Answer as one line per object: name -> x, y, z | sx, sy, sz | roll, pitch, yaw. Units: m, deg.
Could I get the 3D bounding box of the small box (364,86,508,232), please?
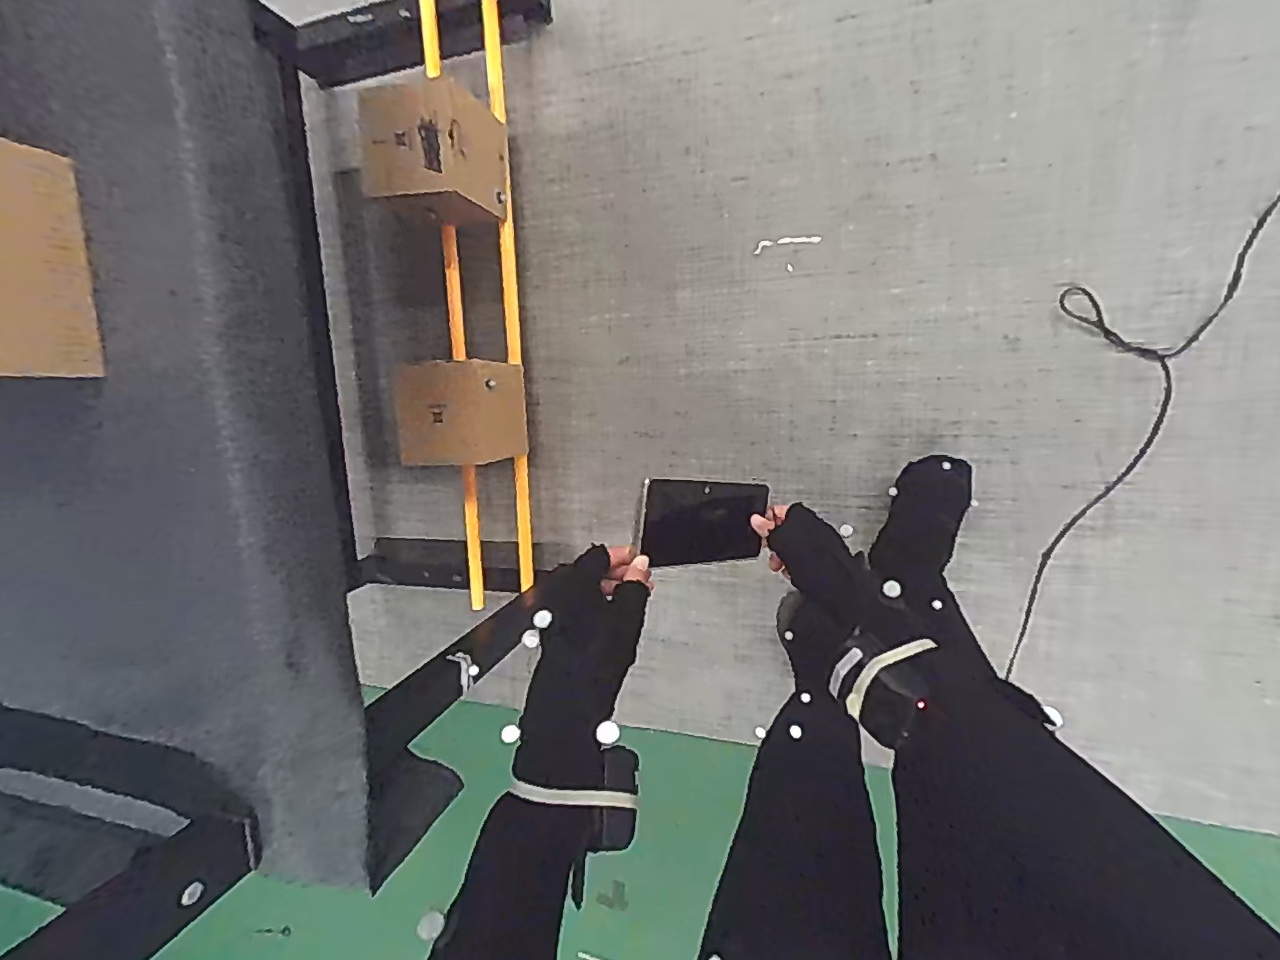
small box -> -0.342, -0.542, 0.936 | 0.179, 0.176, 0.168 | 4, 99, 16

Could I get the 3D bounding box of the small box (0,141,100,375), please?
small box -> -0.556, -0.169, 0.400 | 0.168, 0.176, 0.179 | 4, 100, 16
